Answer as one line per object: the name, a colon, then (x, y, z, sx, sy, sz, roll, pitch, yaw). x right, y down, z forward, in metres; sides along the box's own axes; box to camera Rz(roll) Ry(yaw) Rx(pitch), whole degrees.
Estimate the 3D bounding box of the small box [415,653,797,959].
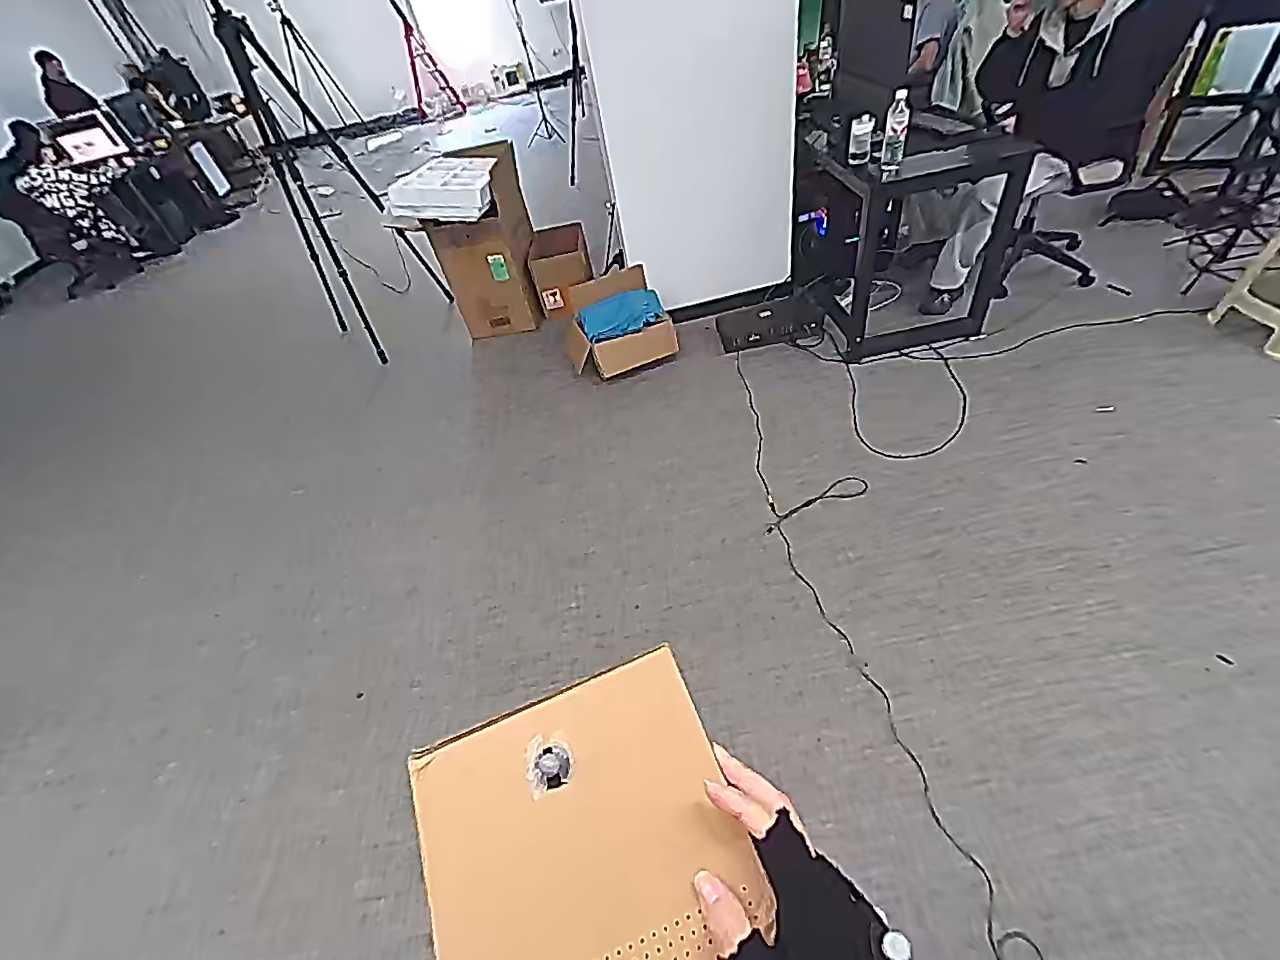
small box: (-0.022, 0.248, 0.364, 0.179, 0.168, 0.176, -21, 58, -7)
